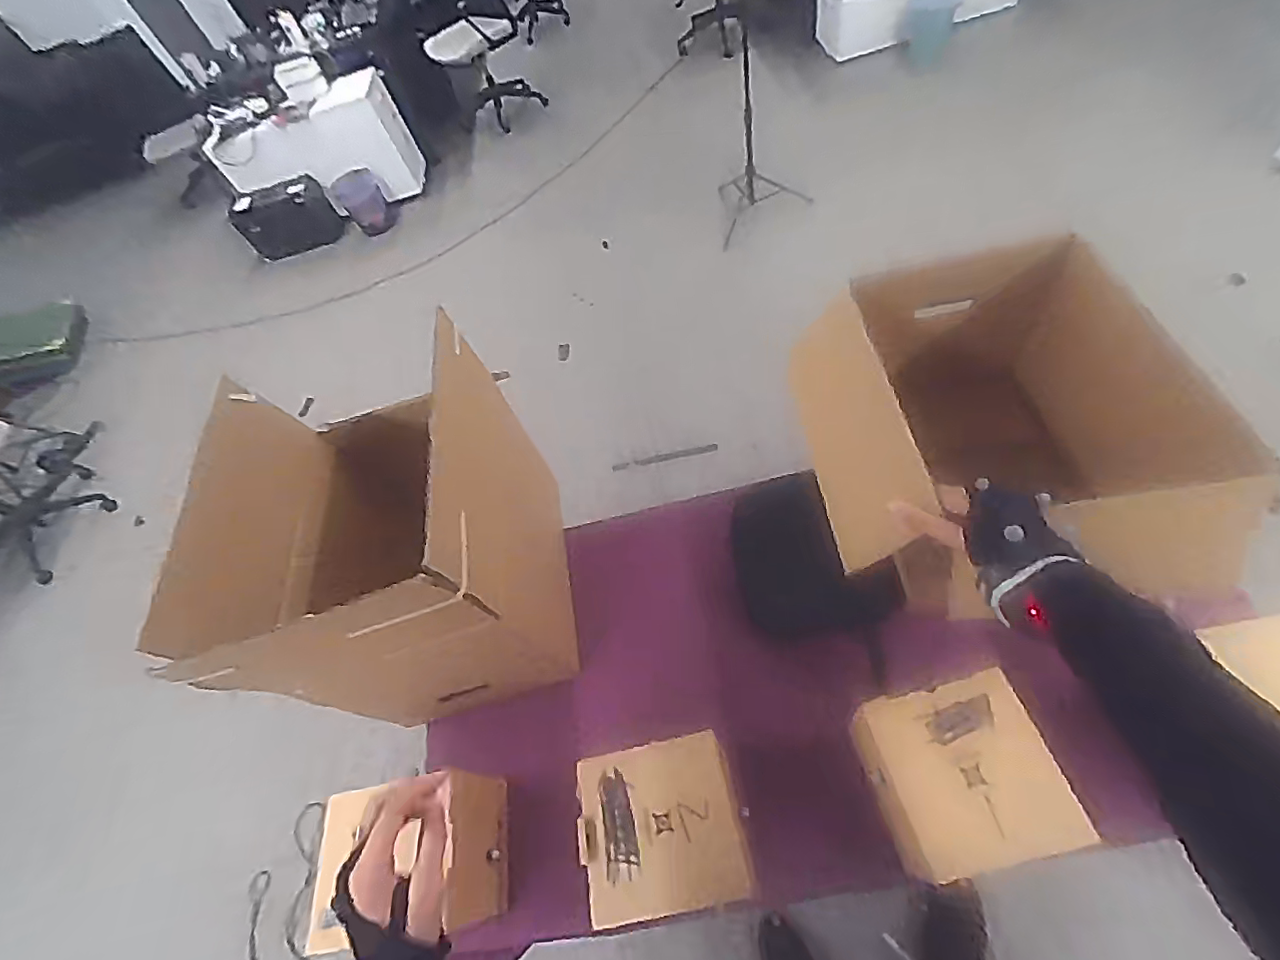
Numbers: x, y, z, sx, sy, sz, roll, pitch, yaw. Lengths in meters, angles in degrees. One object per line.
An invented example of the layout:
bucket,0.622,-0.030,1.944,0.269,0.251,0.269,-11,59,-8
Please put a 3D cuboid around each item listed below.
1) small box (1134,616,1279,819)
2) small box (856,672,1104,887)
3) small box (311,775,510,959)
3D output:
small box,0.718,0.261,0.599,0.168,0.176,0.179,-14,55,8
small box,0.372,0.352,0.639,0.168,0.176,0.179,-17,56,5
small box,-0.289,0.508,0.721,0.179,0.176,0.168,-14,55,5
